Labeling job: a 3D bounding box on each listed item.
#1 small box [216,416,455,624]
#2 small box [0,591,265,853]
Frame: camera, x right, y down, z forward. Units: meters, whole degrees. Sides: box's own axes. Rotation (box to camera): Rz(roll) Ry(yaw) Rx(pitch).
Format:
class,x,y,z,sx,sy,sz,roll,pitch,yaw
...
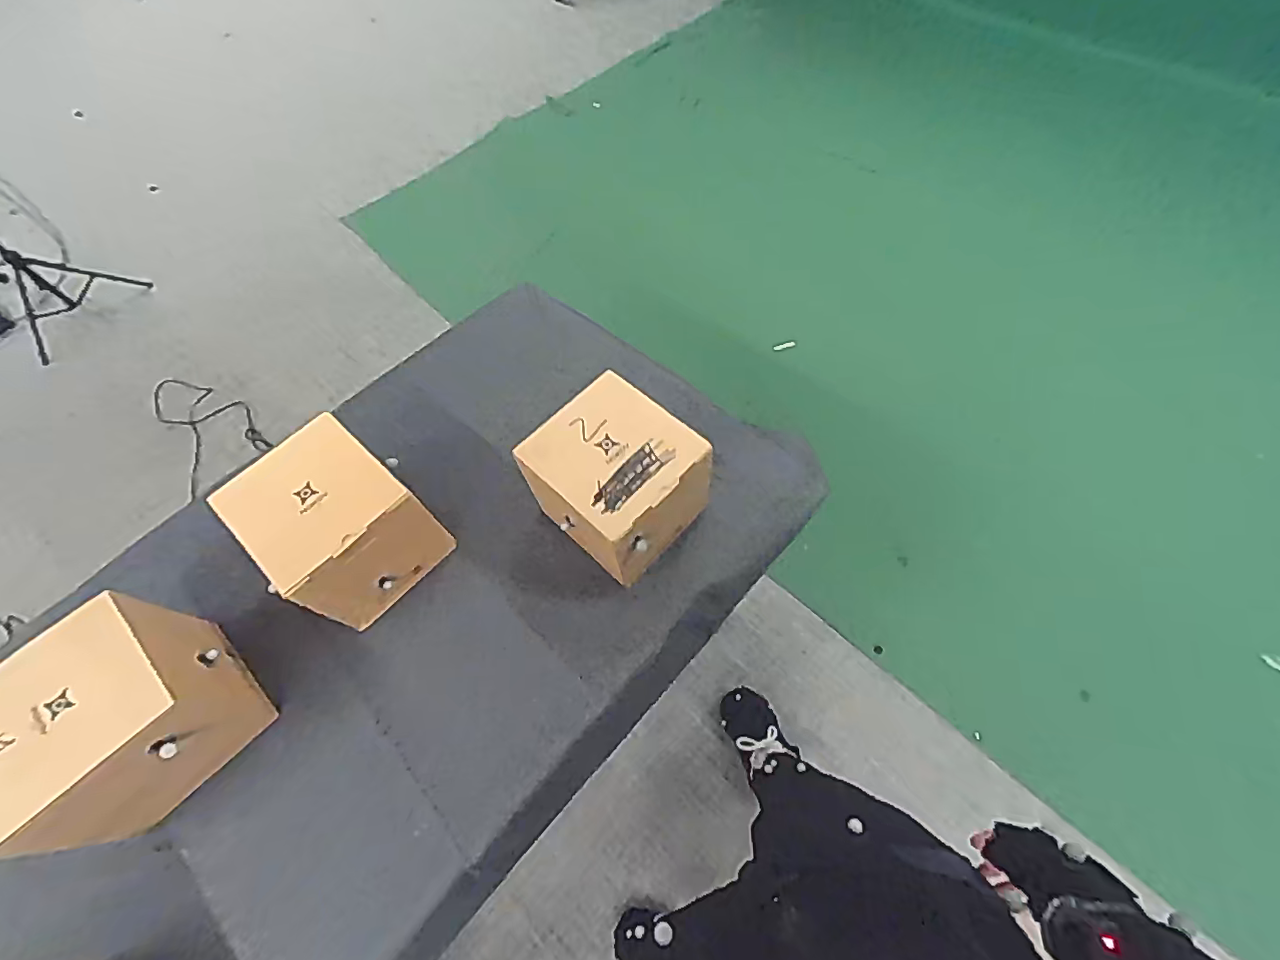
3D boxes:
class,x,y,z,sx,sy,sz,roll,pitch,yaw
small box,-0.373,0.058,0.693,0.179,0.176,0.168,39,70,19
small box,-0.557,0.257,0.590,0.168,0.176,0.179,41,70,20
